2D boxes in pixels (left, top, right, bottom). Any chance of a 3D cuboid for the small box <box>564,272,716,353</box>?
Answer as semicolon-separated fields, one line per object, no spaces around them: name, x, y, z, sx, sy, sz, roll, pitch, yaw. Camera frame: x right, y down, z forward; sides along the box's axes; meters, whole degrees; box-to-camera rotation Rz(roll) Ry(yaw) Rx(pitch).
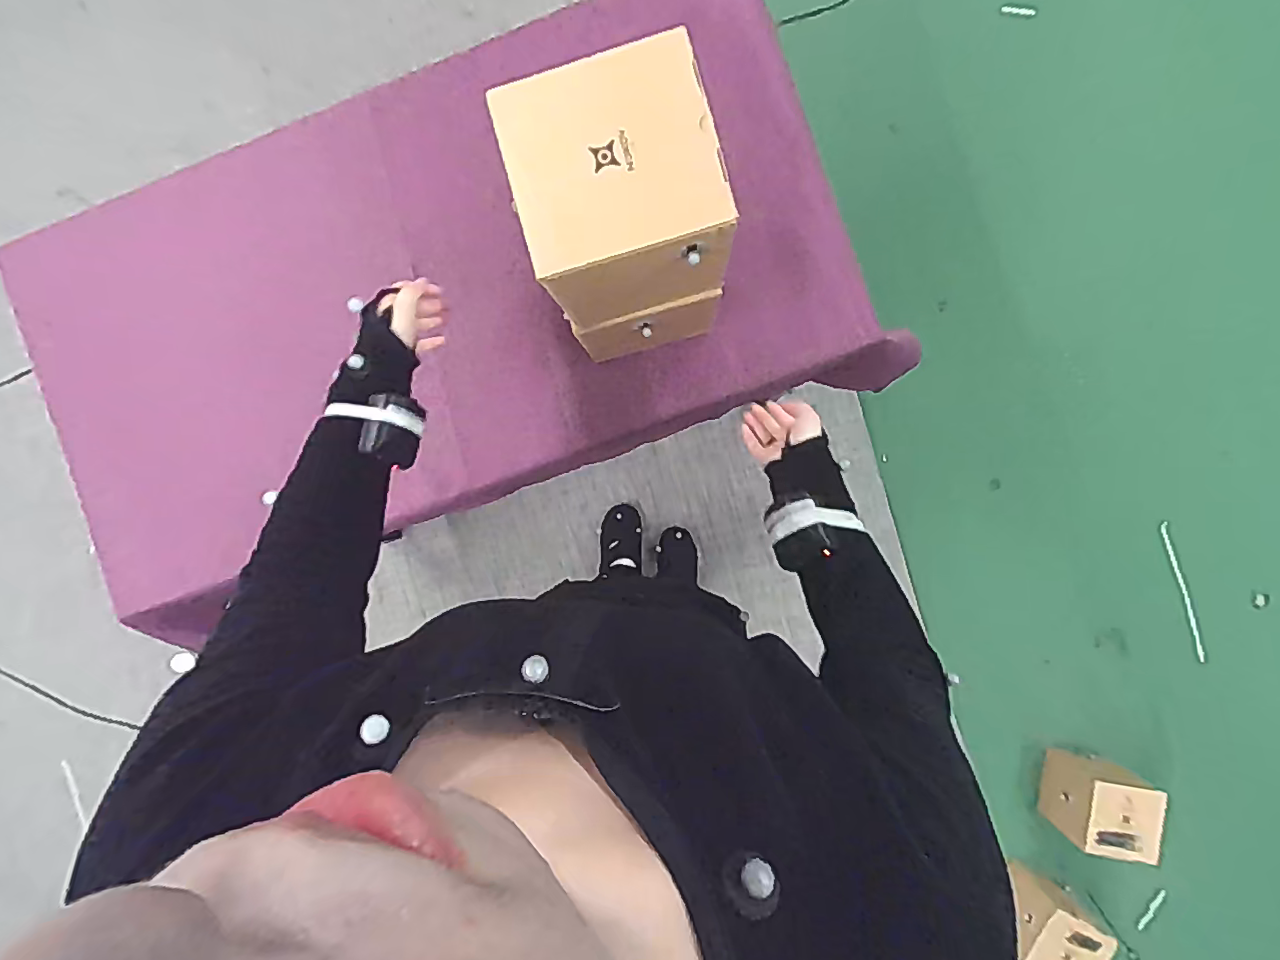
small box;-0.008;-0.272;0.688;0.179;0.176;0.168;-13;91;4

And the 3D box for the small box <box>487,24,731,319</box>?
small box;-0.021;-0.274;0.526;0.179;0.176;0.168;-15;91;4

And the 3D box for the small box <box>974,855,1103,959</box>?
small box;1.000;1.116;1.378;0.168;0.176;0.179;29;94;2
